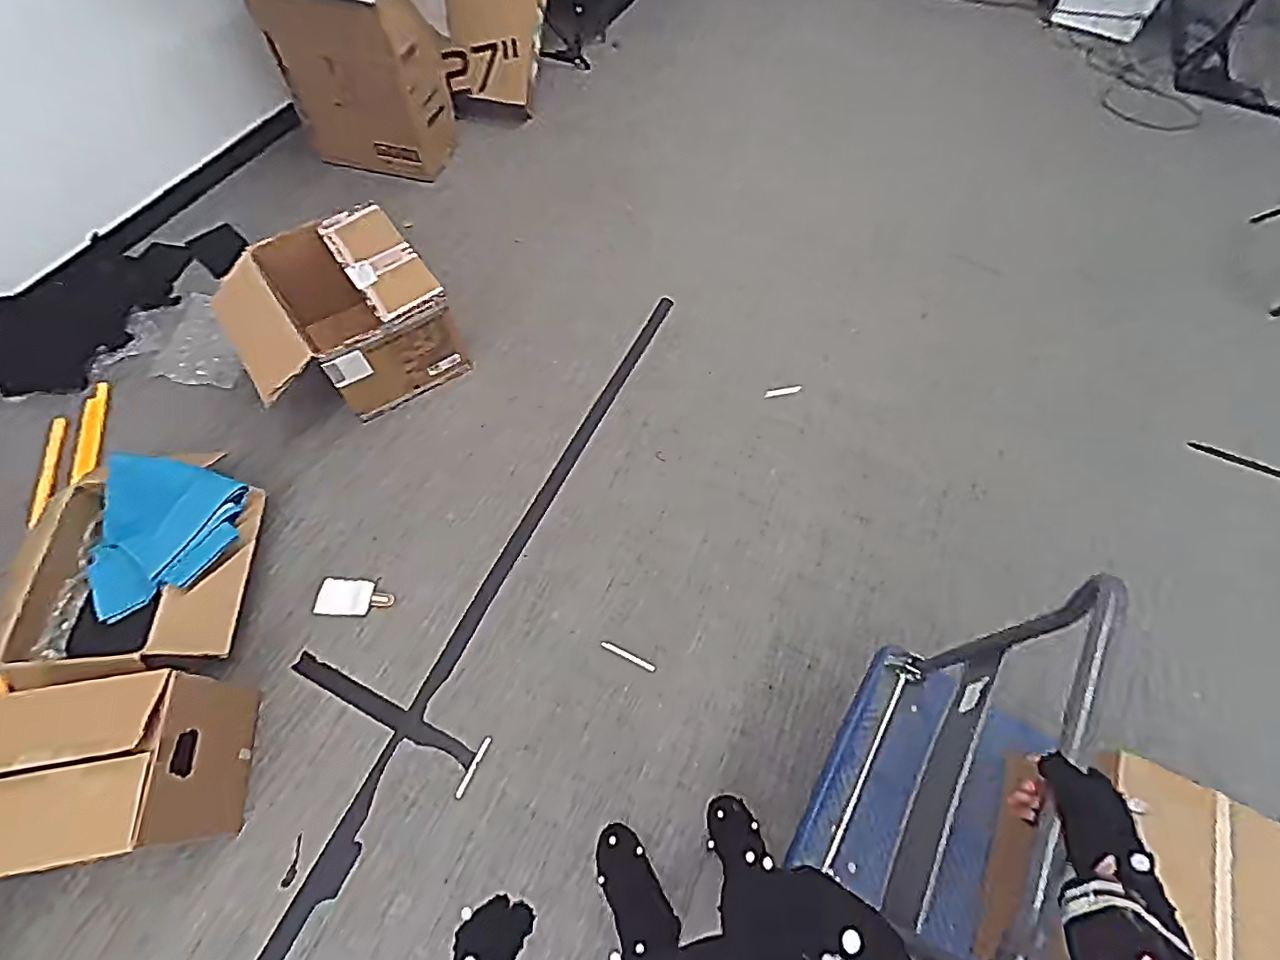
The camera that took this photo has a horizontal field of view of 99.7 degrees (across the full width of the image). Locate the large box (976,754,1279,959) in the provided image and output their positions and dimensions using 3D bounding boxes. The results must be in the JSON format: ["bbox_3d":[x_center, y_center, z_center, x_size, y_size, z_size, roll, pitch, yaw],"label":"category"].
[{"bbox_3d":[0.846,0.742,0.931,0.320,0.320,0.408,24,64,11],"label":"large box"}]
